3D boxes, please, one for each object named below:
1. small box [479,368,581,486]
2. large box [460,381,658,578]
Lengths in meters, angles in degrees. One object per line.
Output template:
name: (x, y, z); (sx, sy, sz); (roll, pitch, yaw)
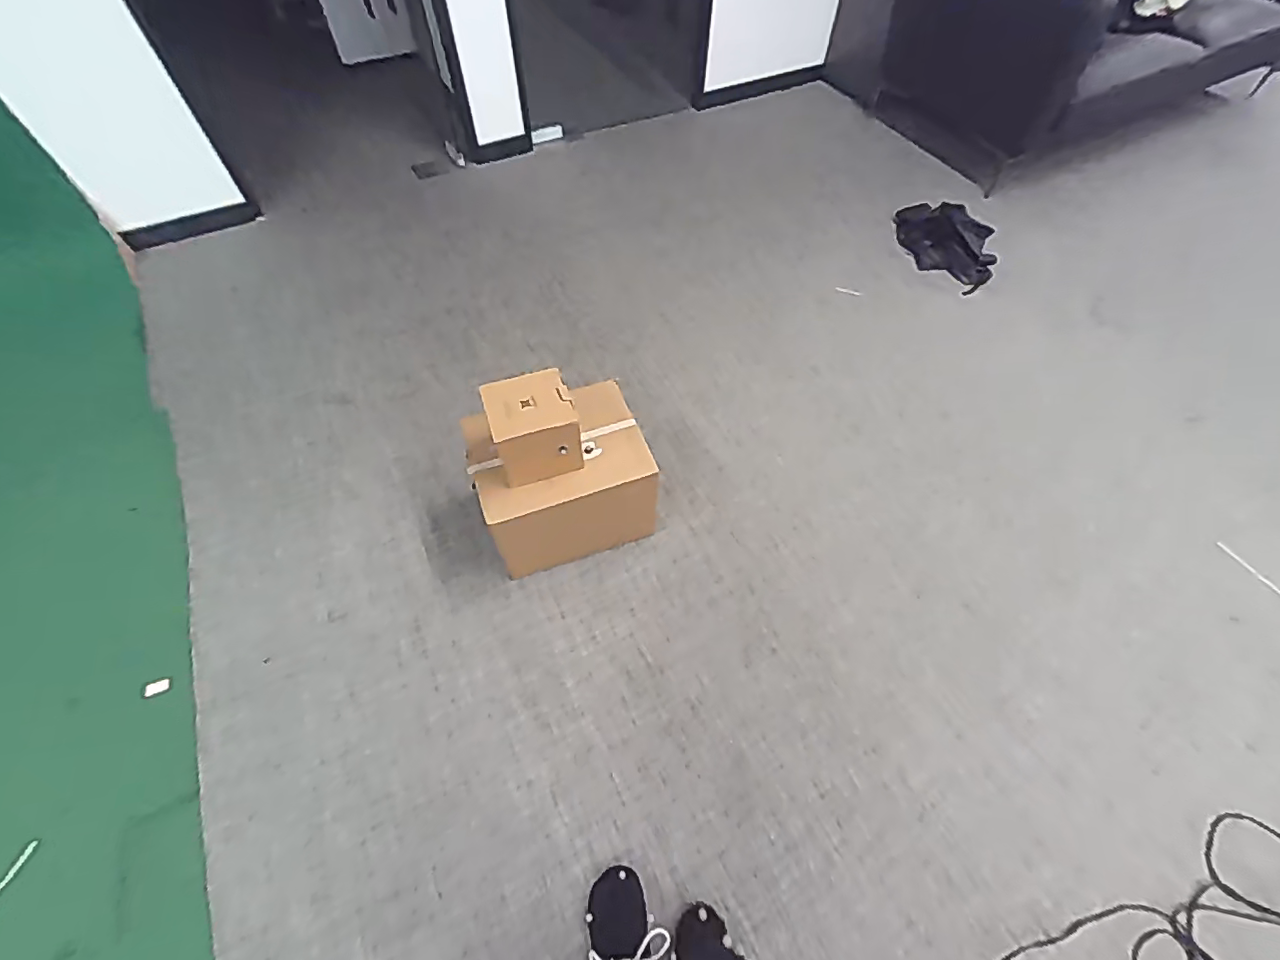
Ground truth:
small box: (-0.233, -0.112, 1.182); (0.179, 0.176, 0.168); (-18, 58, -11)
large box: (-0.203, 0.003, 1.398); (0.408, 0.320, 0.320); (-17, 60, -14)
